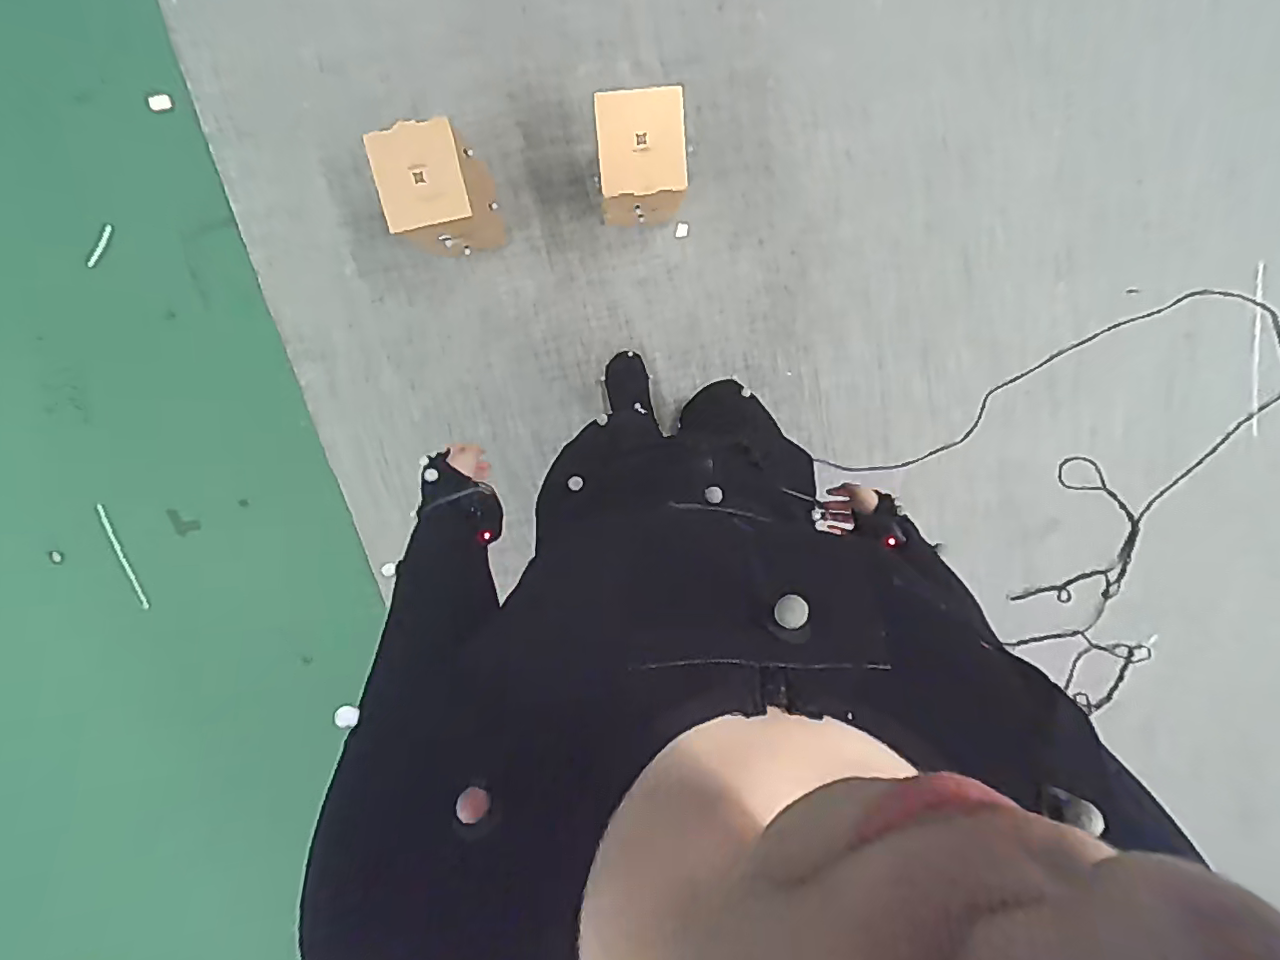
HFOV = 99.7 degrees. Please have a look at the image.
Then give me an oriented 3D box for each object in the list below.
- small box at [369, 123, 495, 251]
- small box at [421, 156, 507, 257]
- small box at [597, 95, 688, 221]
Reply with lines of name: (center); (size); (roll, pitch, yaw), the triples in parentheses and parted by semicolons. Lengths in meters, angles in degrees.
small box: (-0.413, -0.586, 1.102); (0.168, 0.176, 0.179); (-12, 105, 3)
small box: (-0.420, -0.627, 1.259); (0.168, 0.176, 0.179); (-9, 105, 1)
small box: (0.002, -0.645, 1.099); (0.168, 0.176, 0.179); (-5, 105, 0)
